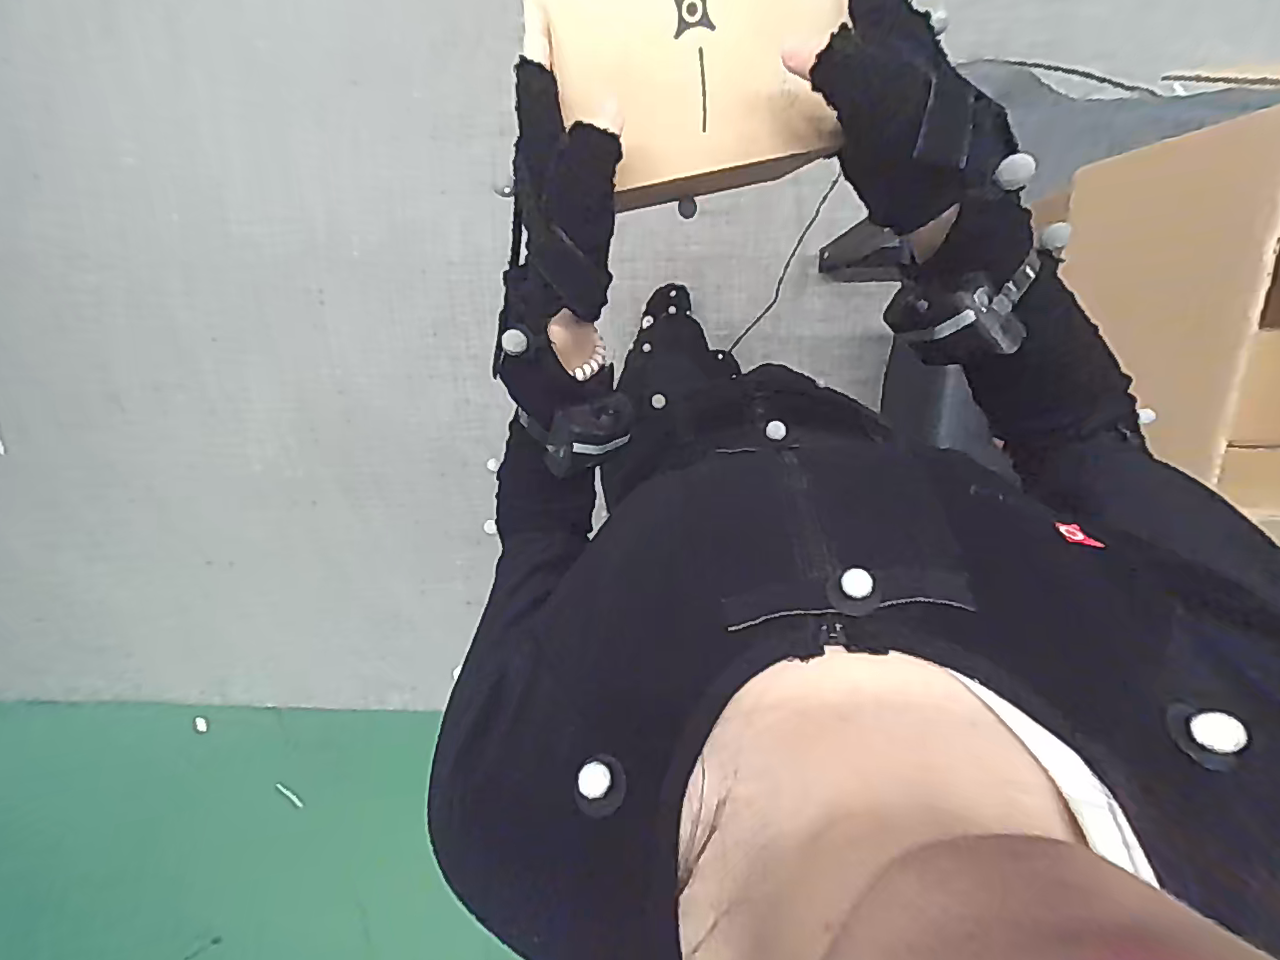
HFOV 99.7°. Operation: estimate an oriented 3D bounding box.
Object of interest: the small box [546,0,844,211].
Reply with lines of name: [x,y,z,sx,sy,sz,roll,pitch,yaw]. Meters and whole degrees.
small box: [0.026,-0.298,0.369,0.168,0.176,0.179,-9,113,2]
